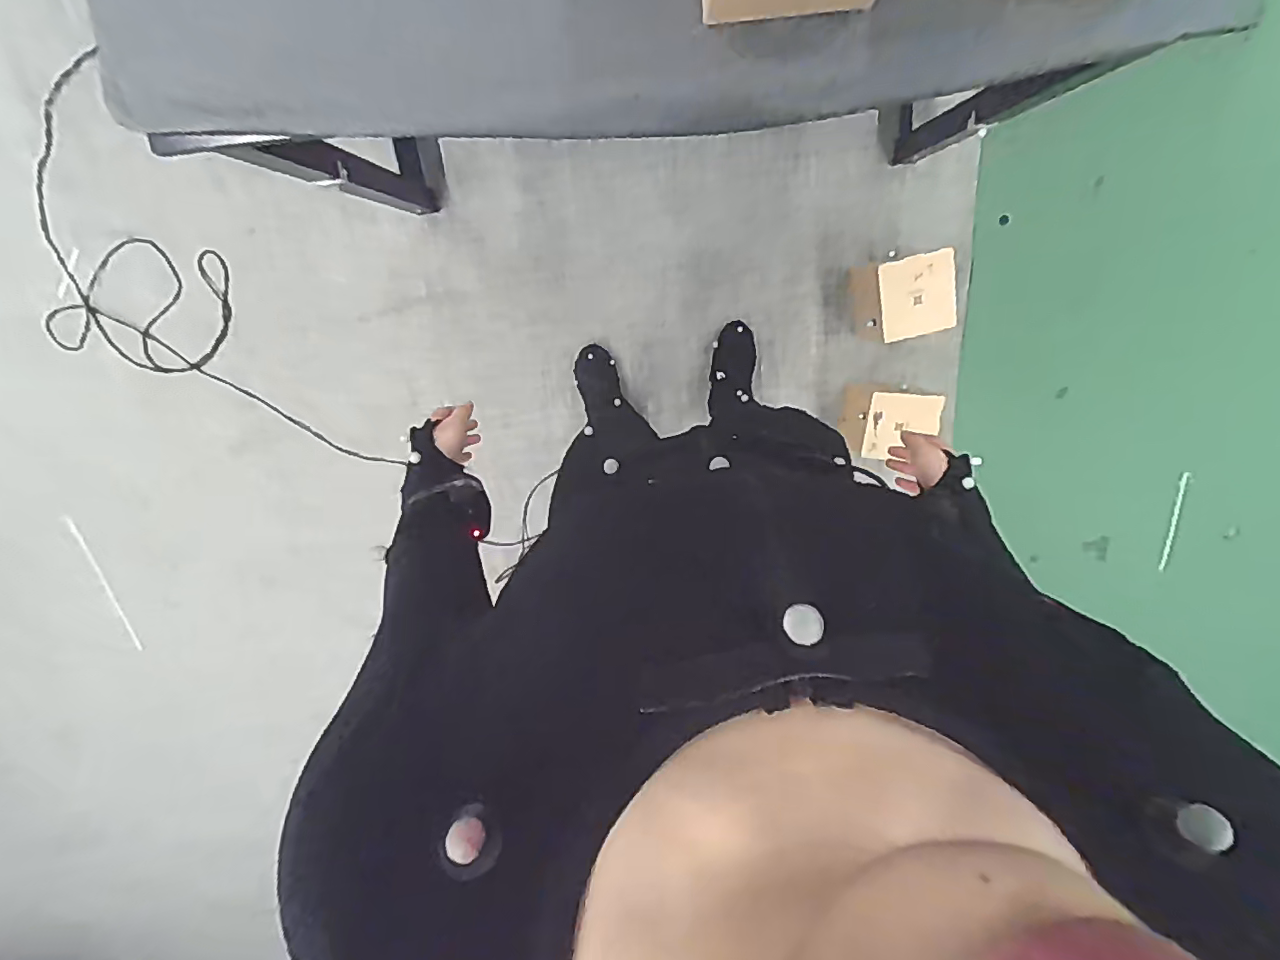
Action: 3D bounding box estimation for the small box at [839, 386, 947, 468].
[{"bbox_3d":[0.630,-0.139,1.368,0.179,0.176,0.168,4,110,-1],"label":"small box"}]

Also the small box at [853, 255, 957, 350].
[{"bbox_3d":[0.616,-0.418,1.270,0.168,0.176,0.179,-13,109,4],"label":"small box"}]
